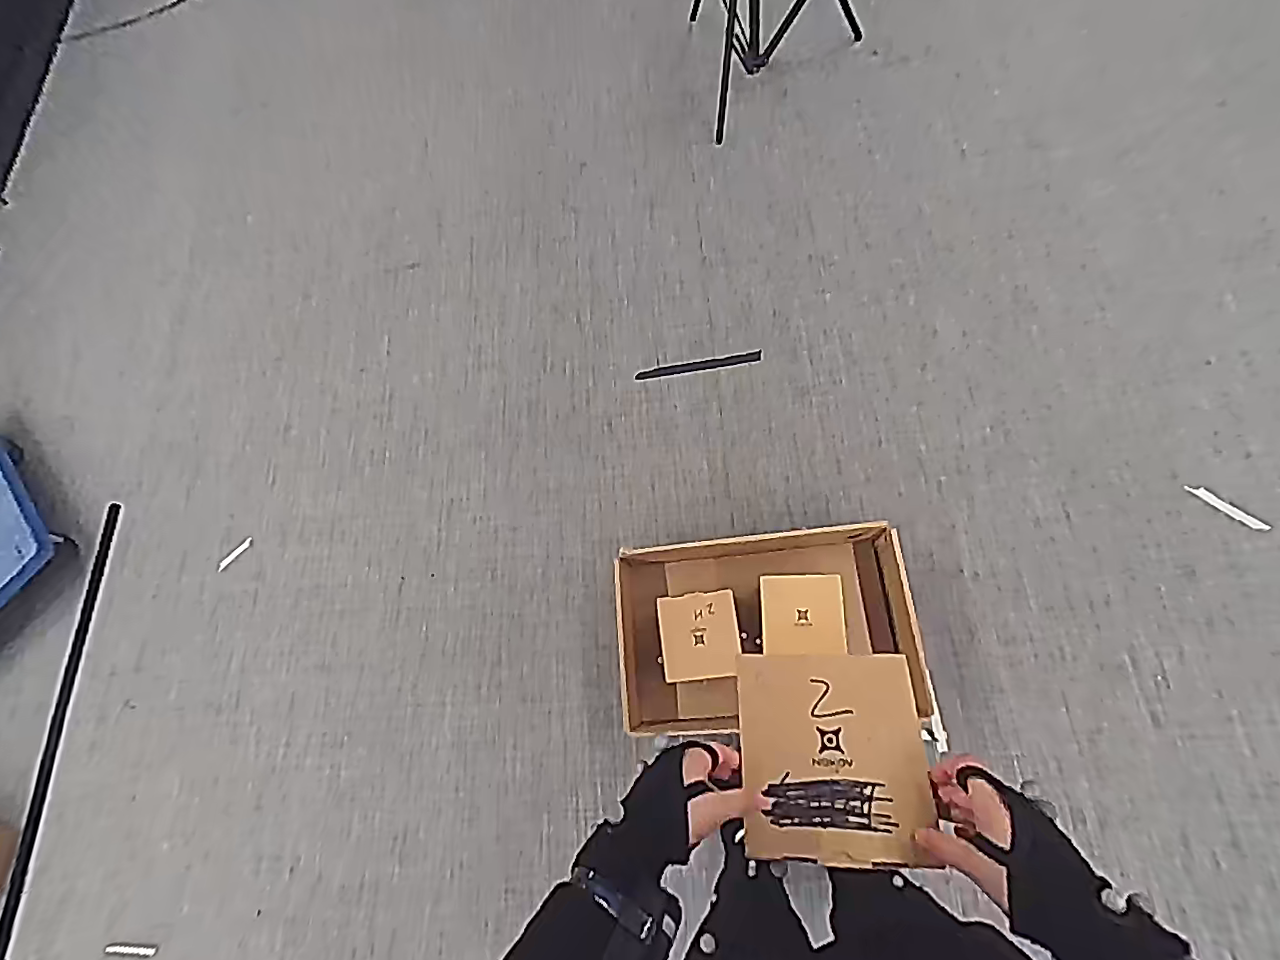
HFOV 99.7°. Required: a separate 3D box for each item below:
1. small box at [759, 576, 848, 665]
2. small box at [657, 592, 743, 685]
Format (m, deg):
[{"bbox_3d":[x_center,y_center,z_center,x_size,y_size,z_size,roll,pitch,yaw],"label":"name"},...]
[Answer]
[{"bbox_3d":[0.348,0.308,1.181,0.168,0.176,0.179,-2,73,12],"label":"small box"},{"bbox_3d":[0.137,0.352,1.207,0.168,0.176,0.179,-8,71,7],"label":"small box"}]
